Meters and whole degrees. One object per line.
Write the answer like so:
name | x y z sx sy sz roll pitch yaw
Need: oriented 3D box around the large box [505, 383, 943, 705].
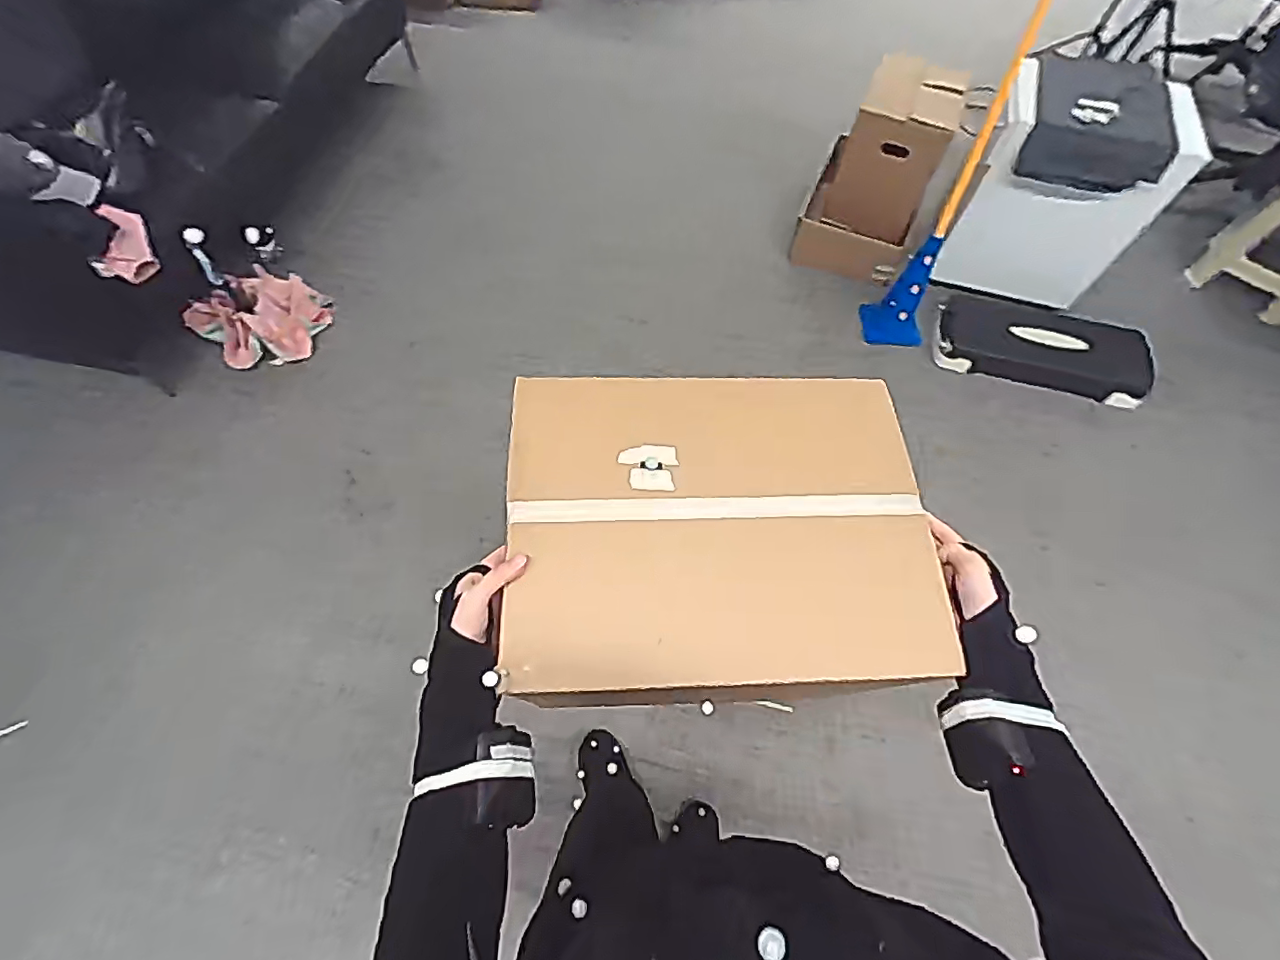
large box | 0.066 0.099 0.674 0.408 0.320 0.320 -2 65 -4
